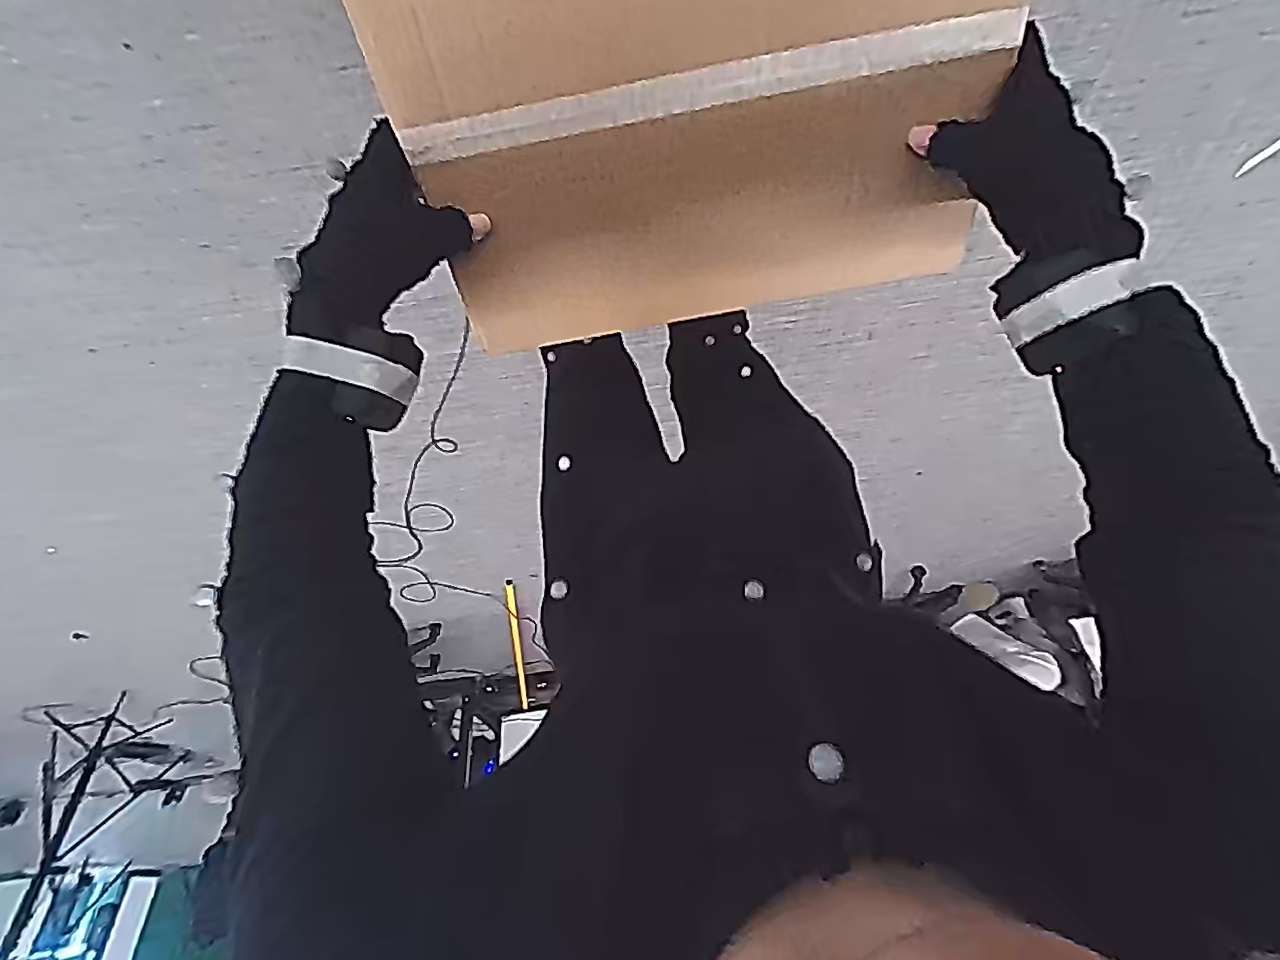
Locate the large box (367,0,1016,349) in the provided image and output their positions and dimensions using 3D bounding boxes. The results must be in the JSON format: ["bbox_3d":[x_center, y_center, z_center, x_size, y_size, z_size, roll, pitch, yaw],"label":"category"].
[{"bbox_3d":[0.029,-0.357,0.473,0.408,0.320,0.320,-10,133,0],"label":"large box"}]
